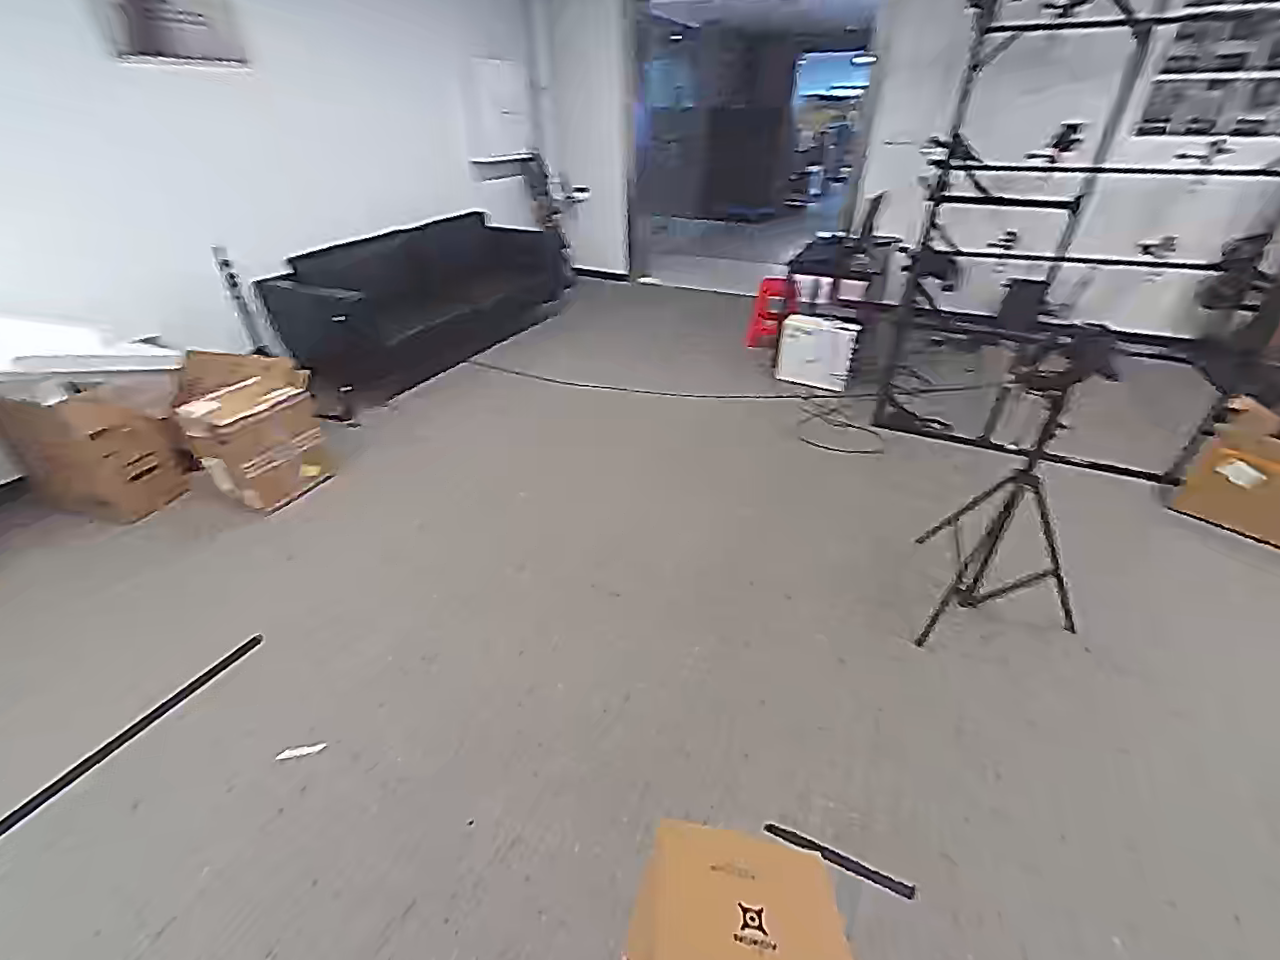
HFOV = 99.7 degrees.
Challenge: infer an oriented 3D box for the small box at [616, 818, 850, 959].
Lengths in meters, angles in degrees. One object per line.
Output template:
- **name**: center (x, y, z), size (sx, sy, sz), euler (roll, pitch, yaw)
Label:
- **small box**: center (0.071, 0.442, 0.459), size (0.168, 0.176, 0.179), euler (15, 12, -1)
